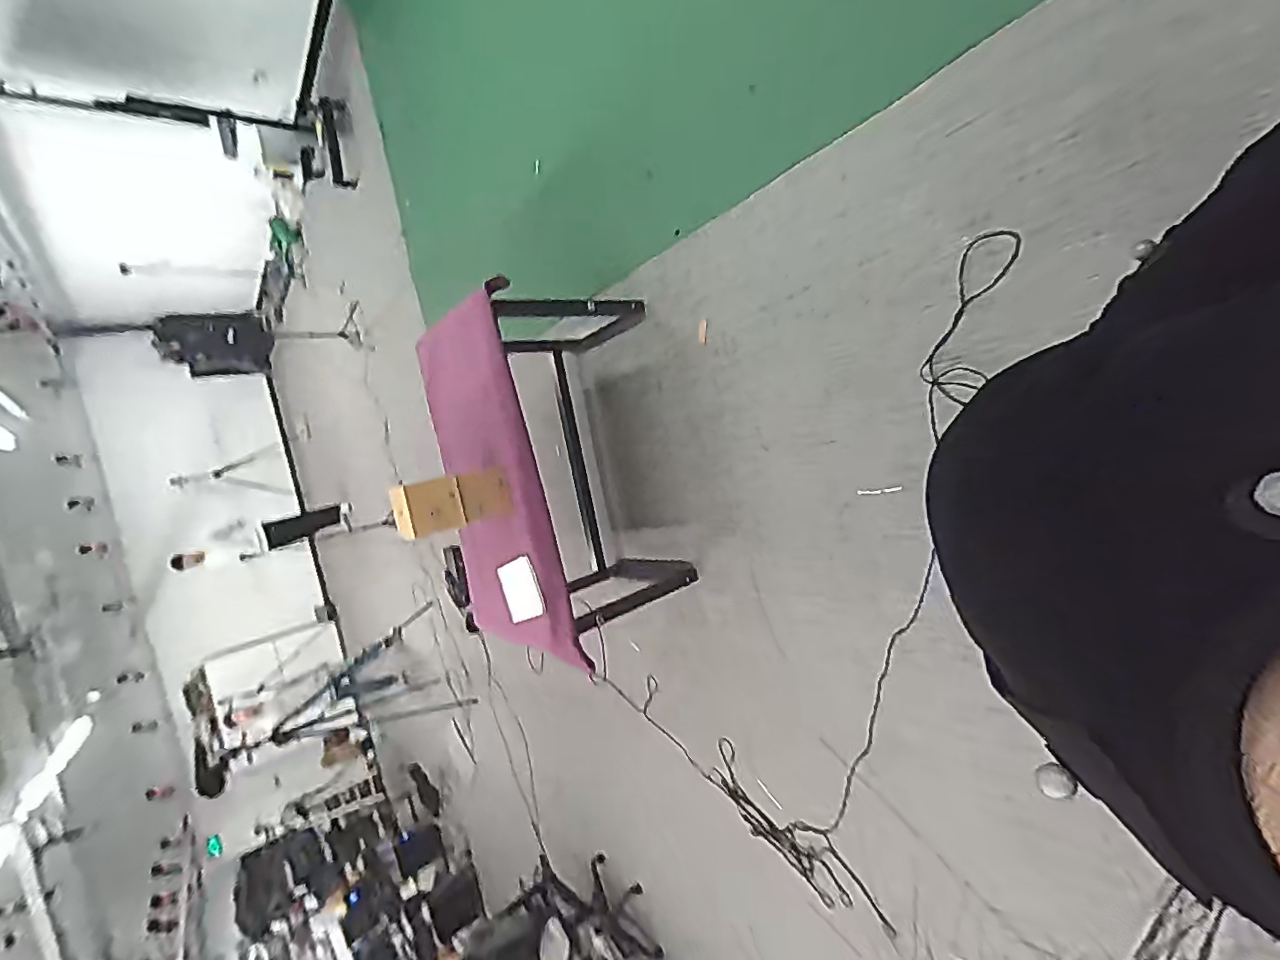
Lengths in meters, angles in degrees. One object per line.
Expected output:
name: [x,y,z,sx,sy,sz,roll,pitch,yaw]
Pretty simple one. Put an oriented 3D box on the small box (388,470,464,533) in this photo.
small box: [-0.674,0.066,1.719,0.179,0.176,0.168,-6,98,52]
